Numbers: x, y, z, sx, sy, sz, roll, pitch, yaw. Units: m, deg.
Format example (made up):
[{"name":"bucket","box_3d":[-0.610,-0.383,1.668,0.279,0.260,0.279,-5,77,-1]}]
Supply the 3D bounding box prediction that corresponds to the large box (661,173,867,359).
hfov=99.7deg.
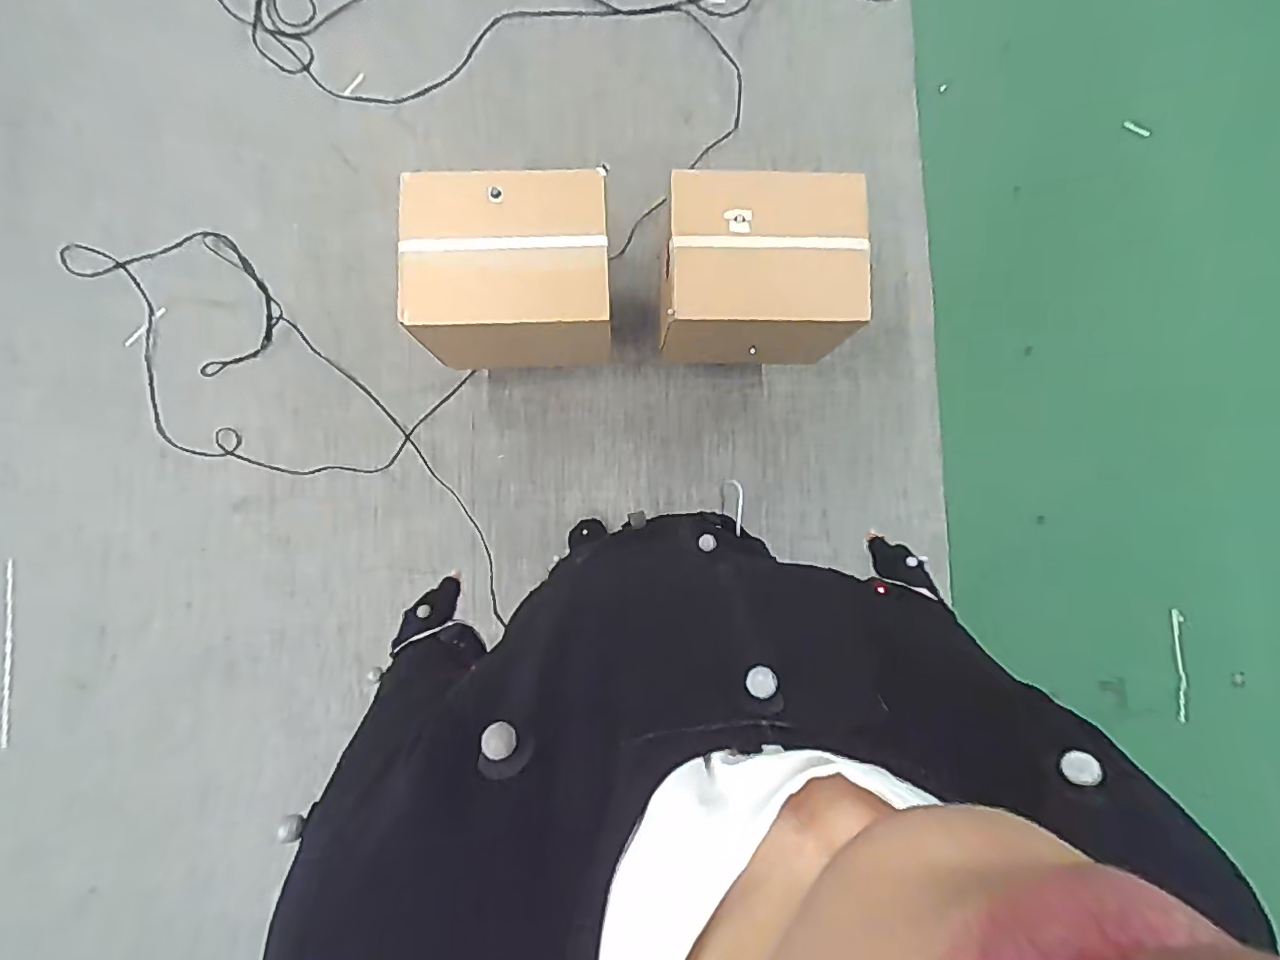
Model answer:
[{"name":"large box","box_3d":[0.258,-0.469,1.248,0.408,0.320,0.320,0,86,-2]}]
